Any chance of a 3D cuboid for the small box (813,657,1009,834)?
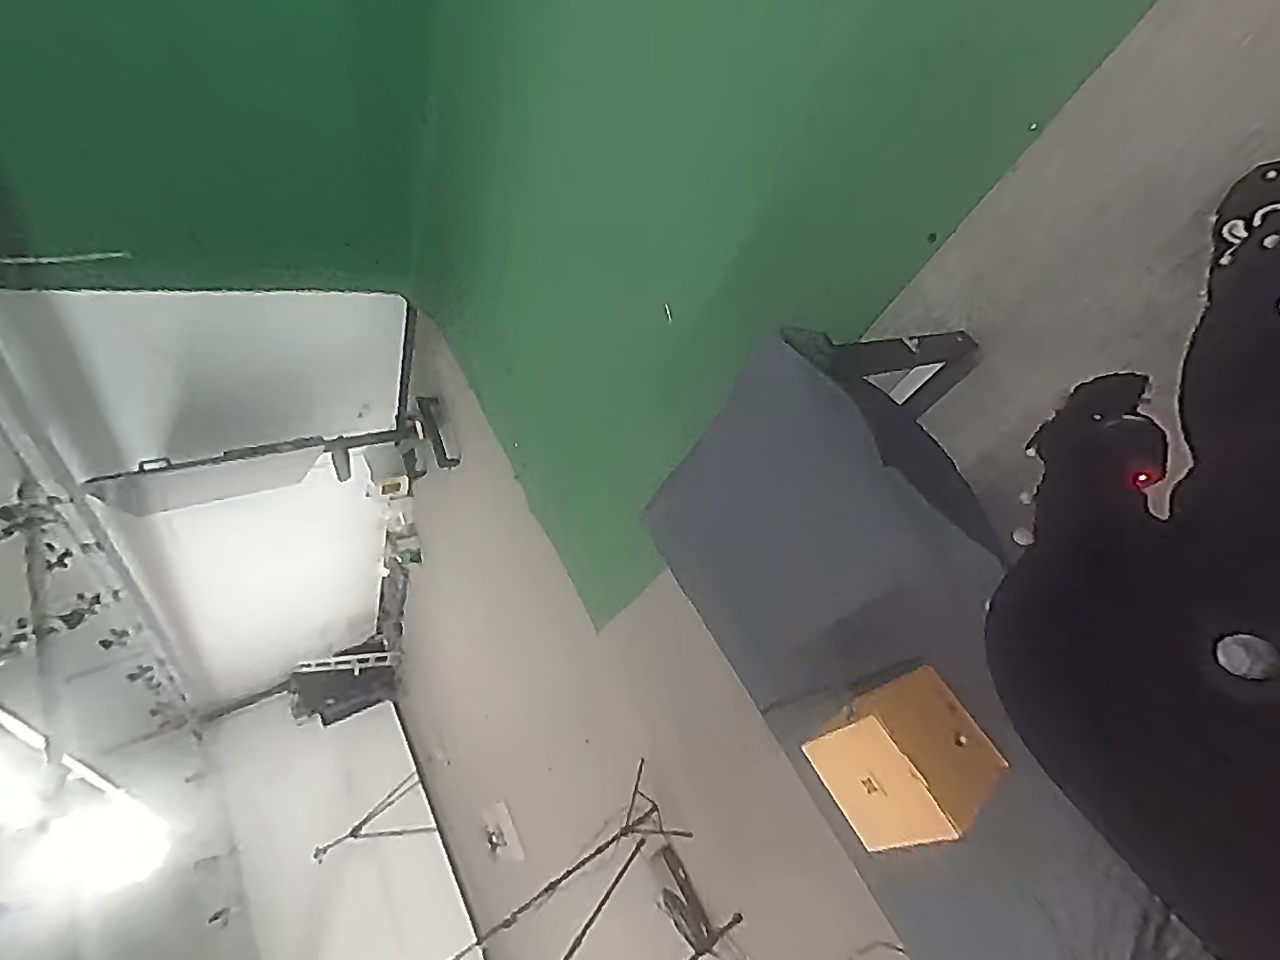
[{"bbox_3d":[0.414,0.403,0.831,0.168,0.176,0.179,57,139,23],"label":"small box"}]
